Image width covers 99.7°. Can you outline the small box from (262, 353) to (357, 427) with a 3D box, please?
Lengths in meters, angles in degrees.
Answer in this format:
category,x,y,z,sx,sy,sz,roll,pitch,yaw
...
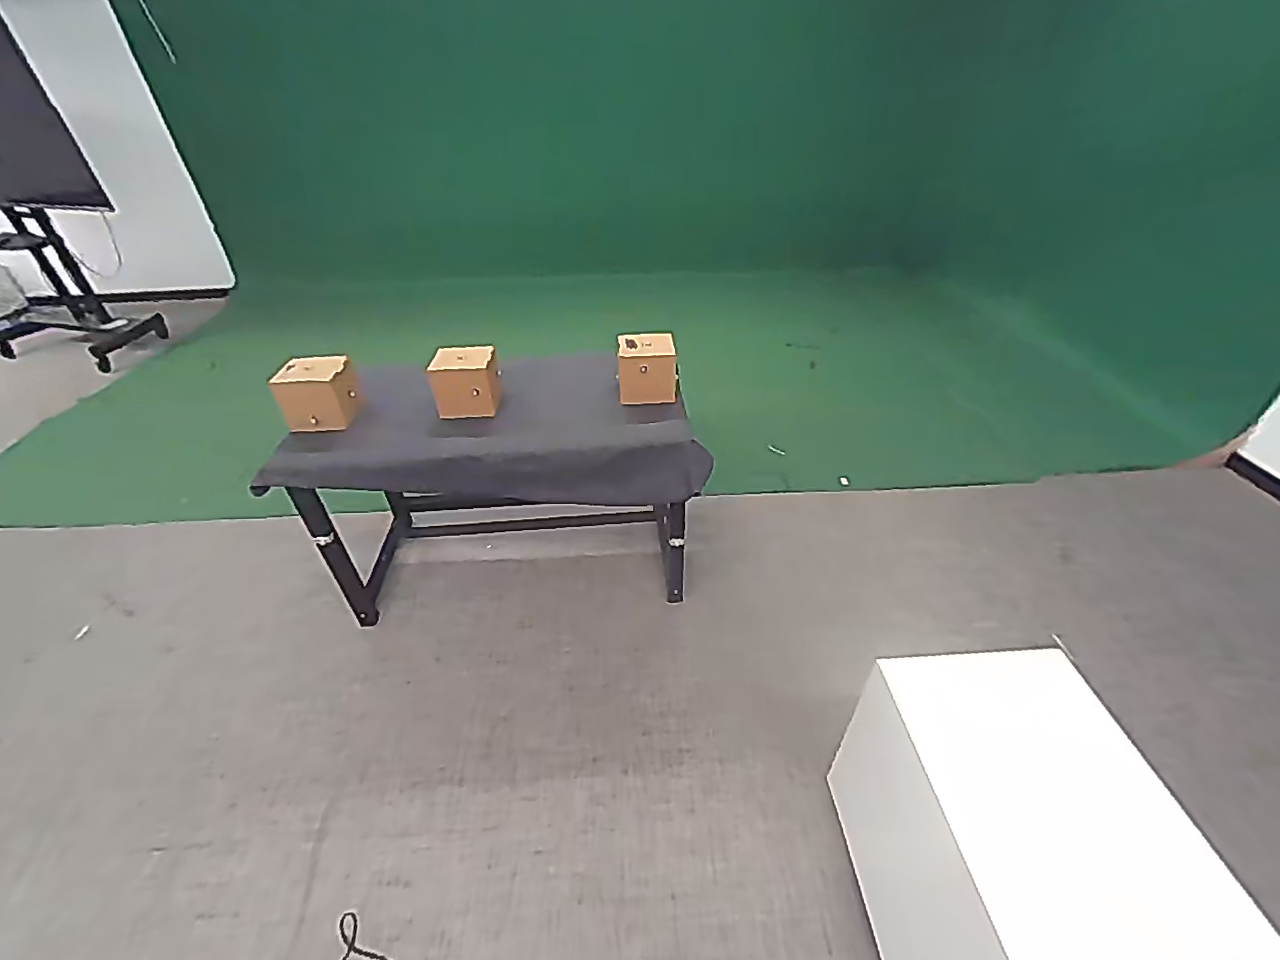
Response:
category,x,y,z,sx,sy,sz,roll,pitch,yaw
small box,-0.987,-0.271,1.635,0.179,0.176,0.168,-1,36,-4

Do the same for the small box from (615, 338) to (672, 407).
category,x,y,z,sx,sy,sz,roll,pitch,yaw
small box,0.010,-0.345,1.740,0.179,0.176,0.168,-1,37,-2

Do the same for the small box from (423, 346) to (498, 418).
category,x,y,z,sx,sy,sz,roll,pitch,yaw
small box,-0.552,-0.306,1.690,0.179,0.176,0.168,-3,36,-3
